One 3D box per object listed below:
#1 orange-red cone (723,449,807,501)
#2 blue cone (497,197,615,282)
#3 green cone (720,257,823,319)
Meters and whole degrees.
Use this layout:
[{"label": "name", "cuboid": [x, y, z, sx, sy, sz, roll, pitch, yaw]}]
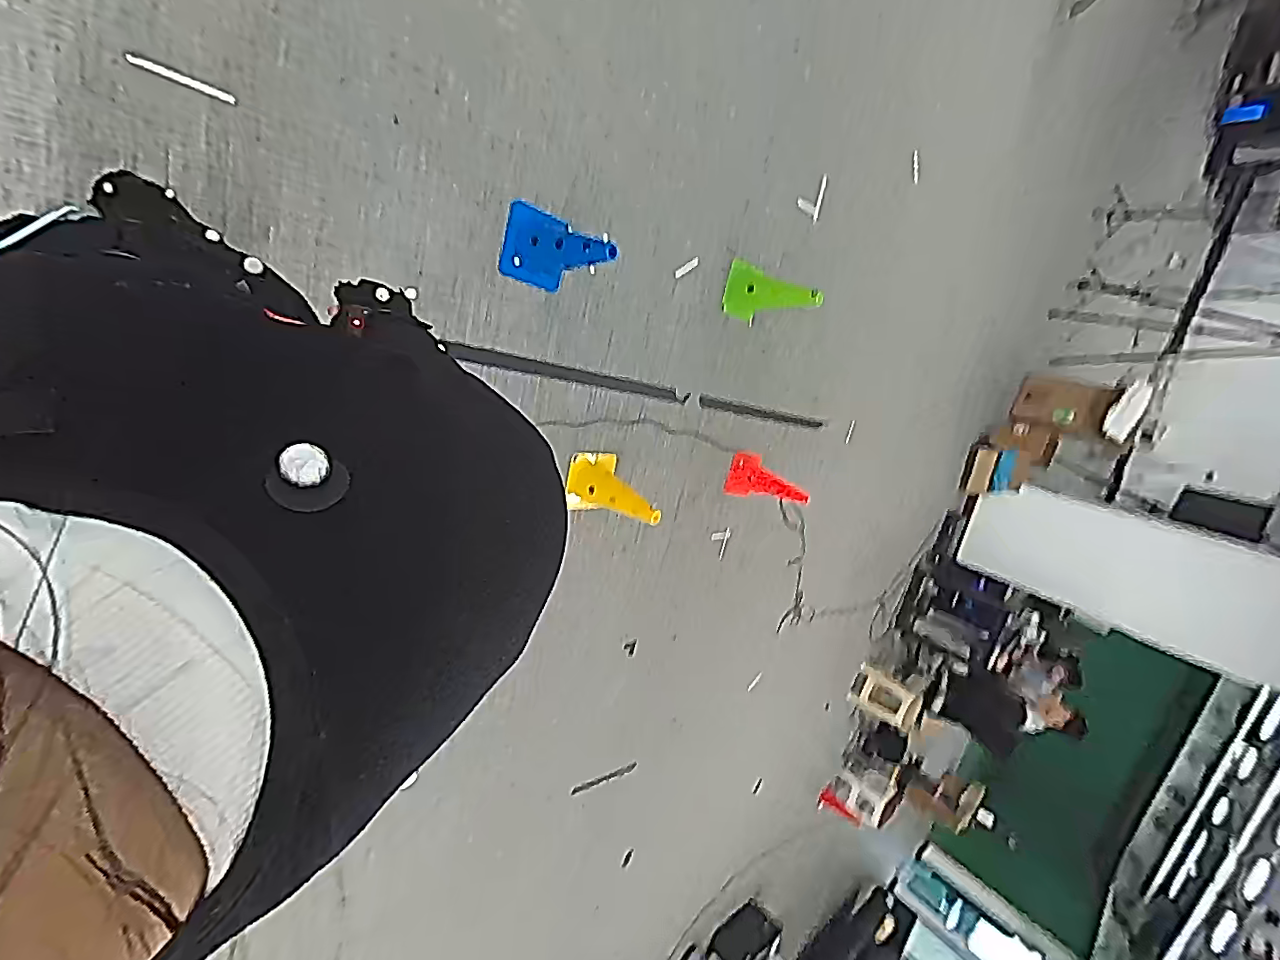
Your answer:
[{"label": "orange-red cone", "cuboid": [0.574, 0.018, 2.375, 0.198, 0.360, 0.199, 8, 104, -43]}, {"label": "blue cone", "cuboid": [-0.196, -0.613, 1.391, 0.193, 0.380, 0.192, 7, 103, -45]}, {"label": "green cone", "cuboid": [0.503, -0.692, 1.983, 0.200, 0.368, 0.202, 2, 106, -43]}]
